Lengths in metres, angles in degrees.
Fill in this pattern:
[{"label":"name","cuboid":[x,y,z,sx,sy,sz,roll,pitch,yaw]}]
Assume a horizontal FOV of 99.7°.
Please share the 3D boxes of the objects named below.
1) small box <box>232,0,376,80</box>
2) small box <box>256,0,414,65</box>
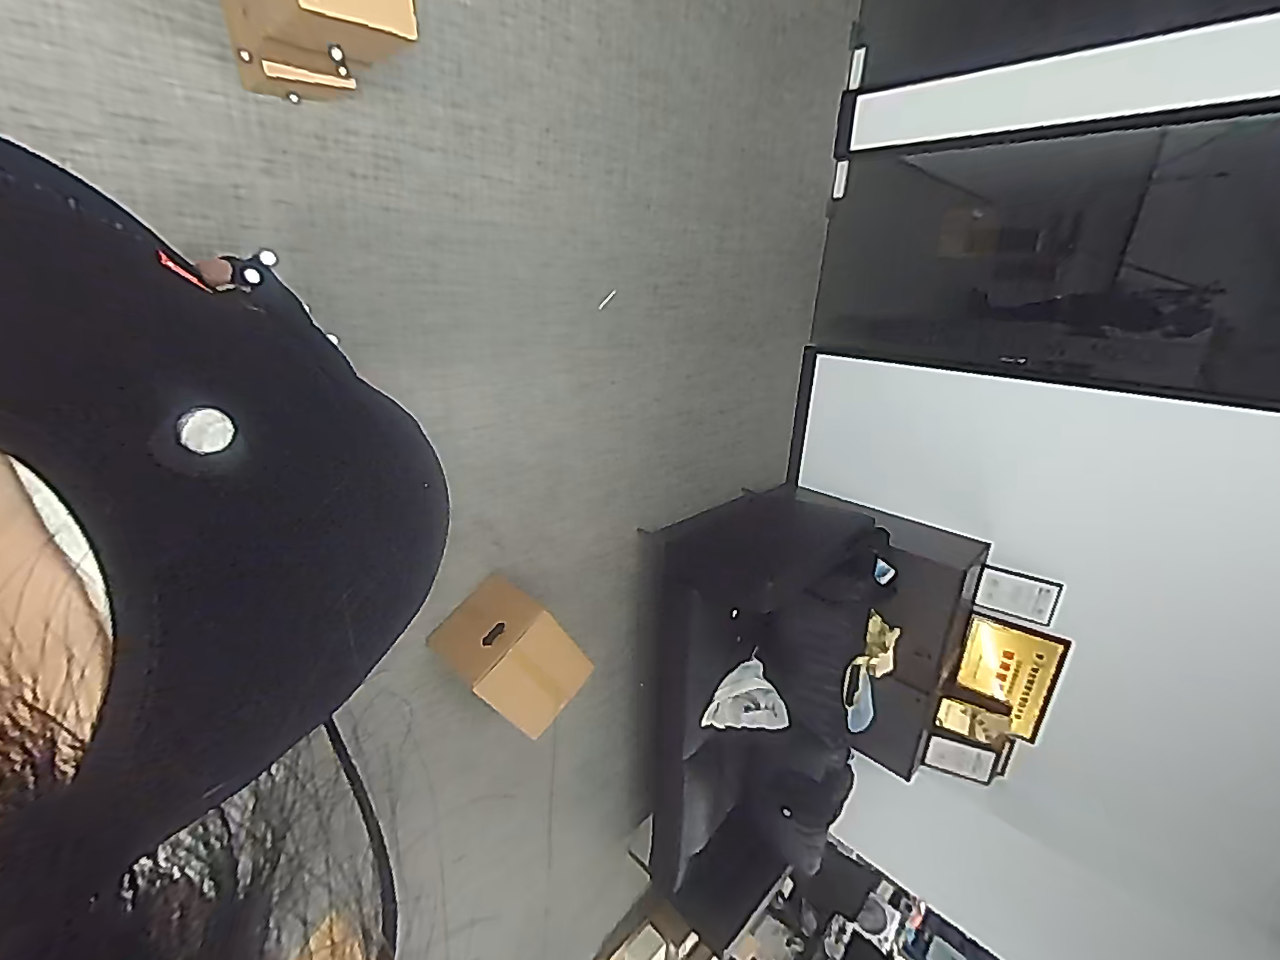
[{"label":"small box","cuboid":[-0.598,-0.836,0.955,0.179,0.176,0.168,-19,118,-41]},{"label":"small box","cuboid":[-0.485,-0.783,0.848,0.179,0.176,0.168,-20,119,-43]}]
